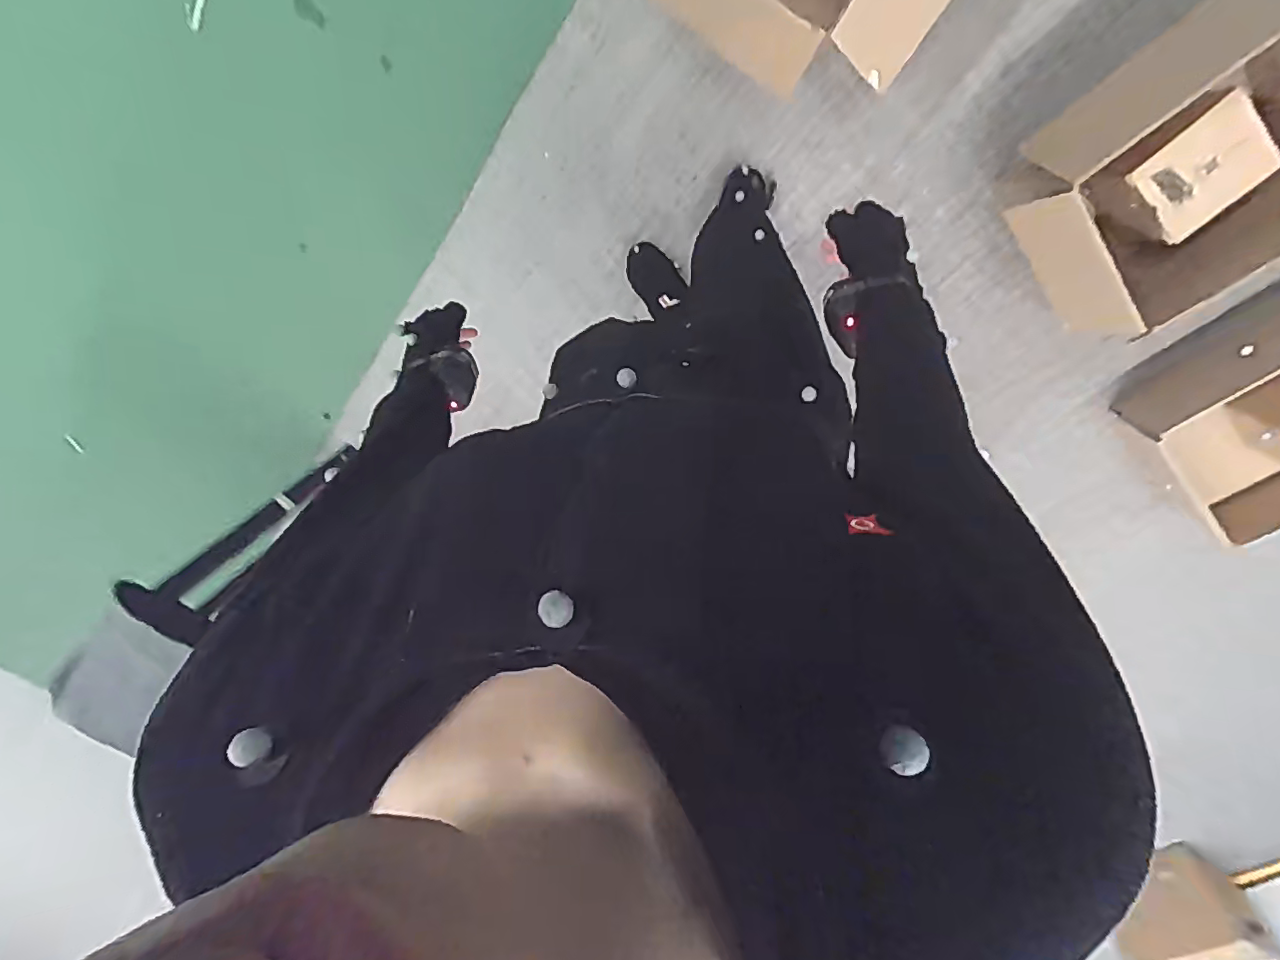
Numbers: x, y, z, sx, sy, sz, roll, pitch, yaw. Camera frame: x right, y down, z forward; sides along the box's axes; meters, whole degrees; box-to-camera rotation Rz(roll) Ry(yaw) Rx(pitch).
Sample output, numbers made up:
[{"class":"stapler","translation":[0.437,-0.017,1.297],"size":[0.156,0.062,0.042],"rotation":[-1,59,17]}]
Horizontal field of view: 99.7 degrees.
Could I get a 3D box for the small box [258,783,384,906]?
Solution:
[{"class":"small box","translation":[-0.754,0.868,1.294],"size":[0.168,0.176,0.179],"rotation":[42,117,-14]}]
